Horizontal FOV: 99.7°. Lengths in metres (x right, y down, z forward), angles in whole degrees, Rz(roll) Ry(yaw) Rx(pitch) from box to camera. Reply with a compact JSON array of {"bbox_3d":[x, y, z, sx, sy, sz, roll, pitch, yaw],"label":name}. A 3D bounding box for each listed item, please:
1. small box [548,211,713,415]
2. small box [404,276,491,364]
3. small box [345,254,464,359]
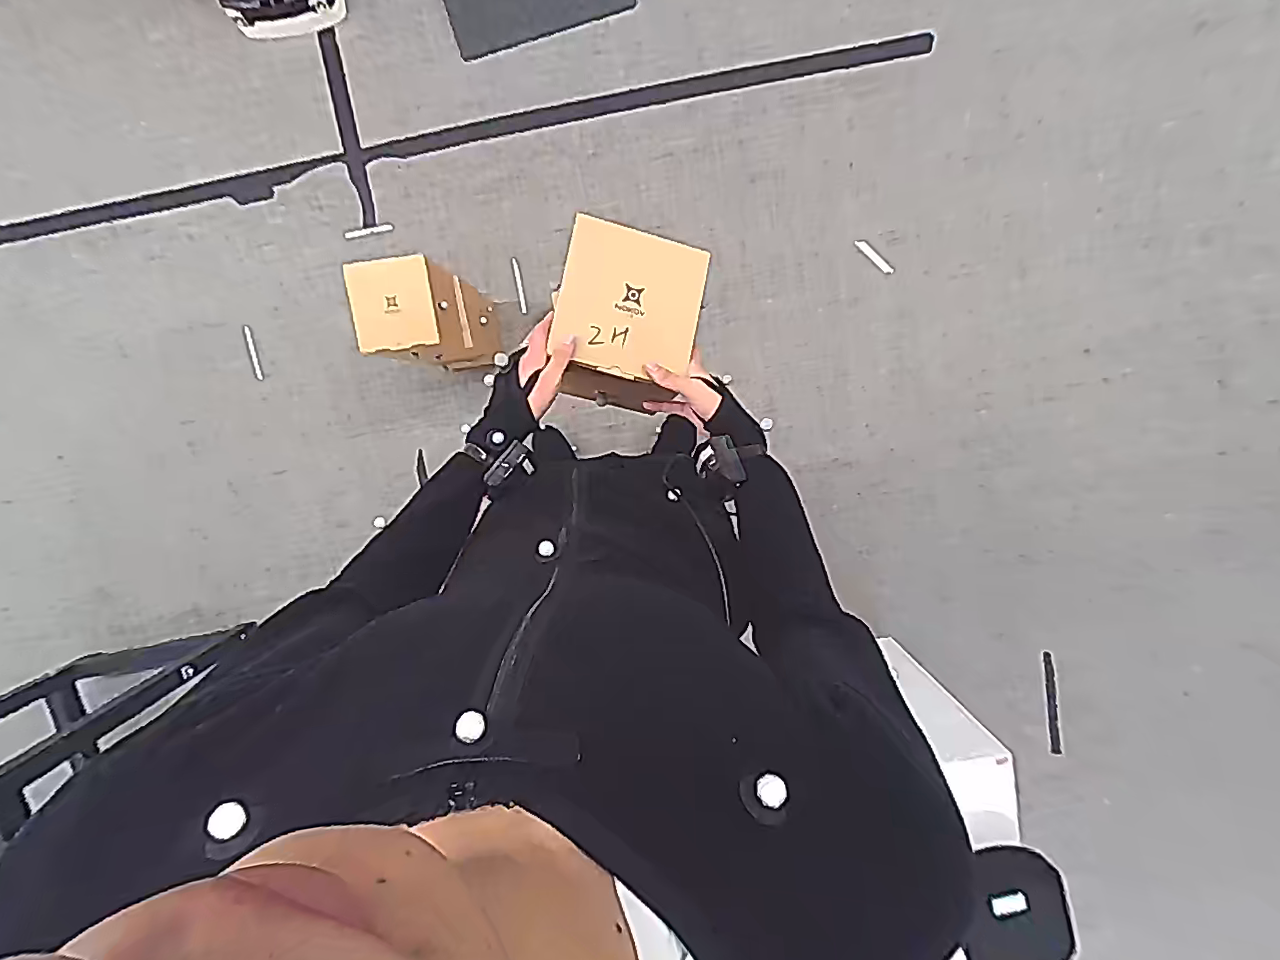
[{"bbox_3d":[-0.022,-0.199,0.695,0.168,0.176,0.179,13,84,-9],"label":"small box"},{"bbox_3d":[-0.481,-0.381,1.313,0.179,0.176,0.168,-10,99,0],"label":"small box"},{"bbox_3d":[-0.491,-0.361,1.151,0.168,0.176,0.179,-8,99,0],"label":"small box"}]
